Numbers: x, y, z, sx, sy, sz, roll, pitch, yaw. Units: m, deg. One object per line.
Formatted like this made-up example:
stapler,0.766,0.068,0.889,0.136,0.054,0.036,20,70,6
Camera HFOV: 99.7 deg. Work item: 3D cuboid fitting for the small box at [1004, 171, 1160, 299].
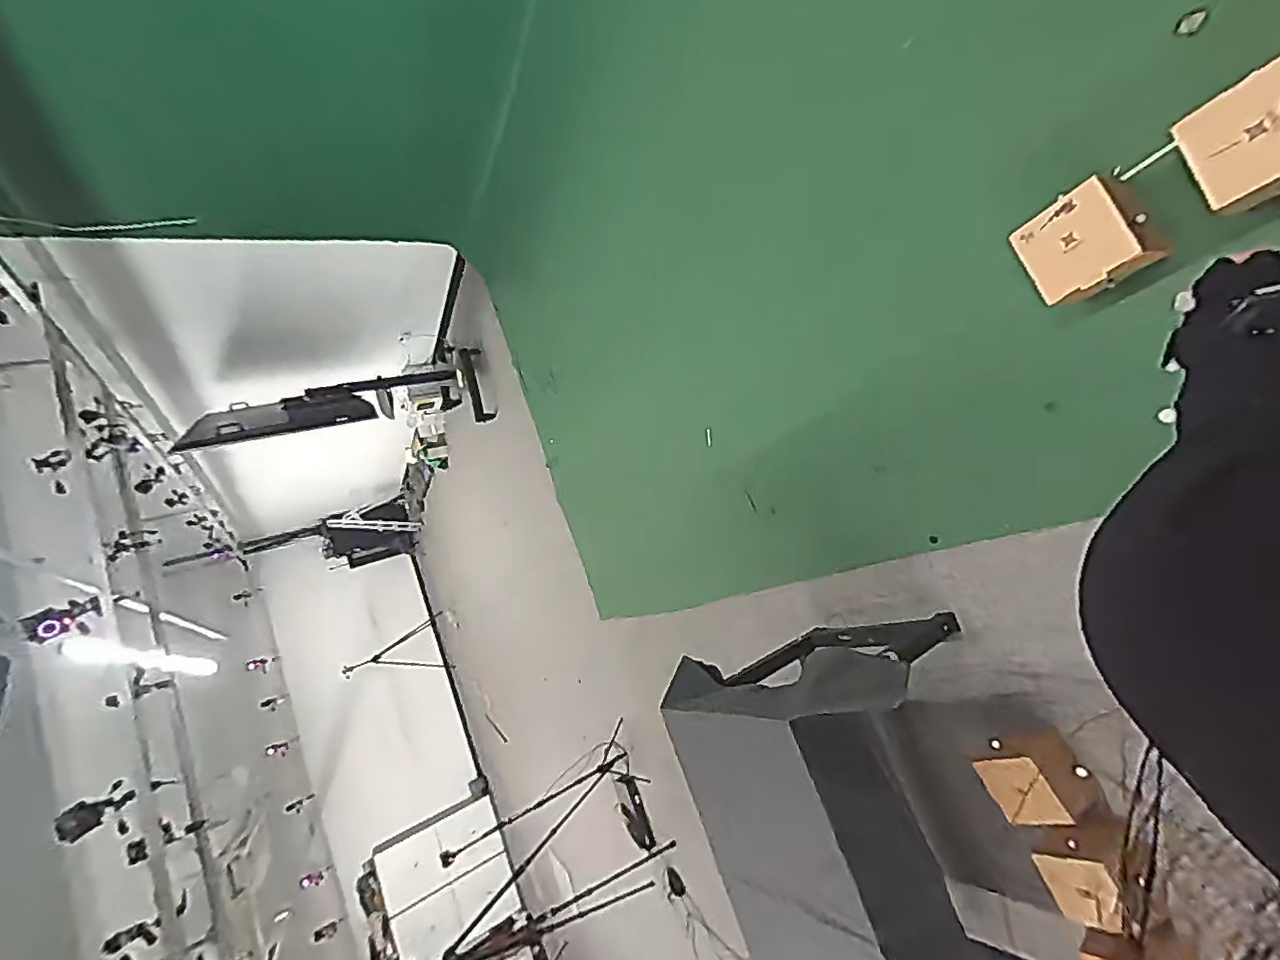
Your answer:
small box,0.904,-0.500,1.105,0.168,0.176,0.179,-37,74,57

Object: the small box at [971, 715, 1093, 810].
small box,1.052,0.757,1.453,0.168,0.176,0.179,62,147,18
